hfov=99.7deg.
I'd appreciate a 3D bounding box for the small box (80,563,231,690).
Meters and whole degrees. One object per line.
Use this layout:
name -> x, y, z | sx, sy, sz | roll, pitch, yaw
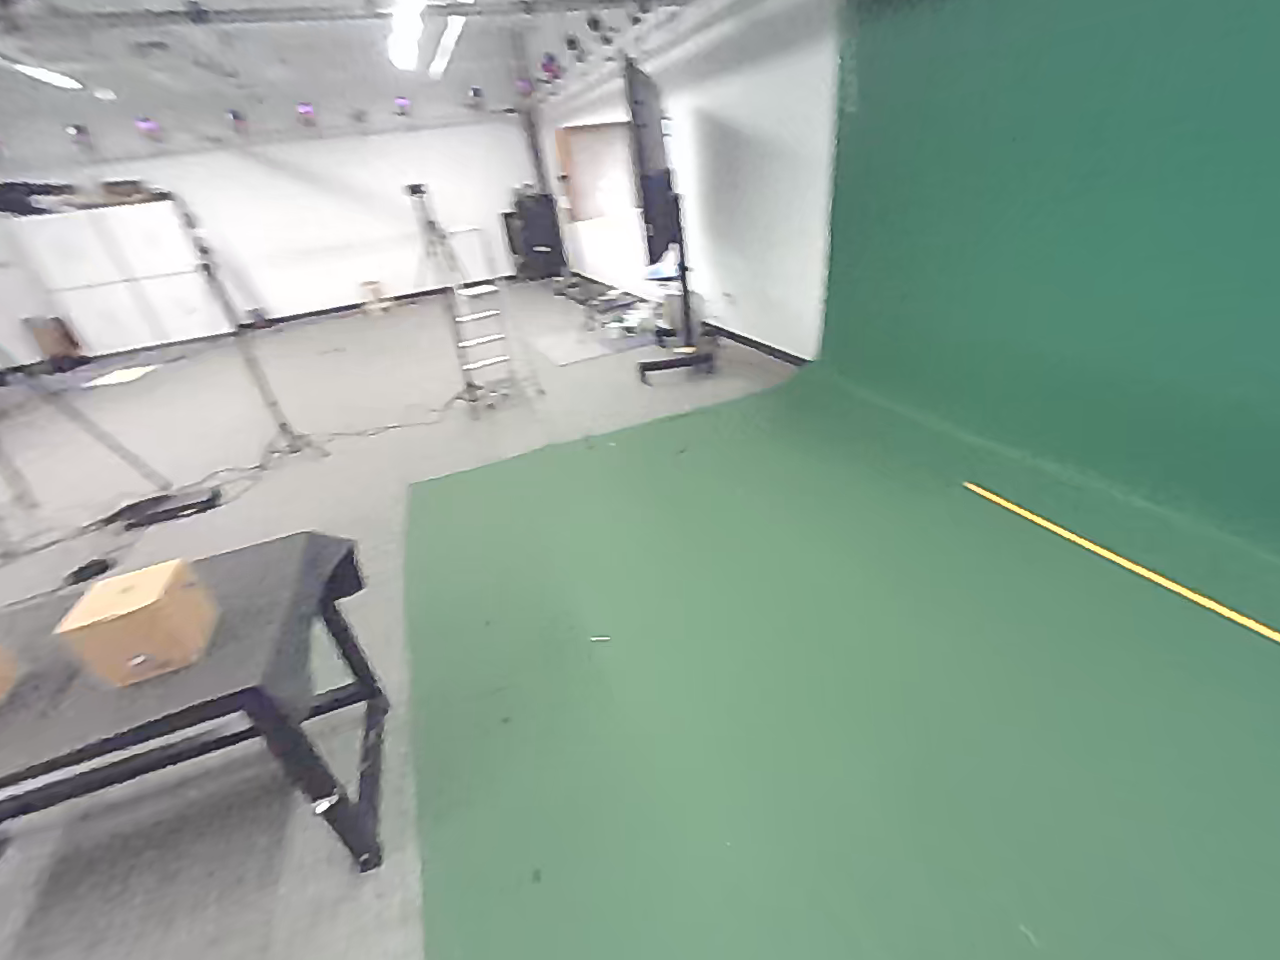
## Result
small box -> -1.037, 0.317, 1.181 | 0.168, 0.176, 0.179 | -19, 31, -15
